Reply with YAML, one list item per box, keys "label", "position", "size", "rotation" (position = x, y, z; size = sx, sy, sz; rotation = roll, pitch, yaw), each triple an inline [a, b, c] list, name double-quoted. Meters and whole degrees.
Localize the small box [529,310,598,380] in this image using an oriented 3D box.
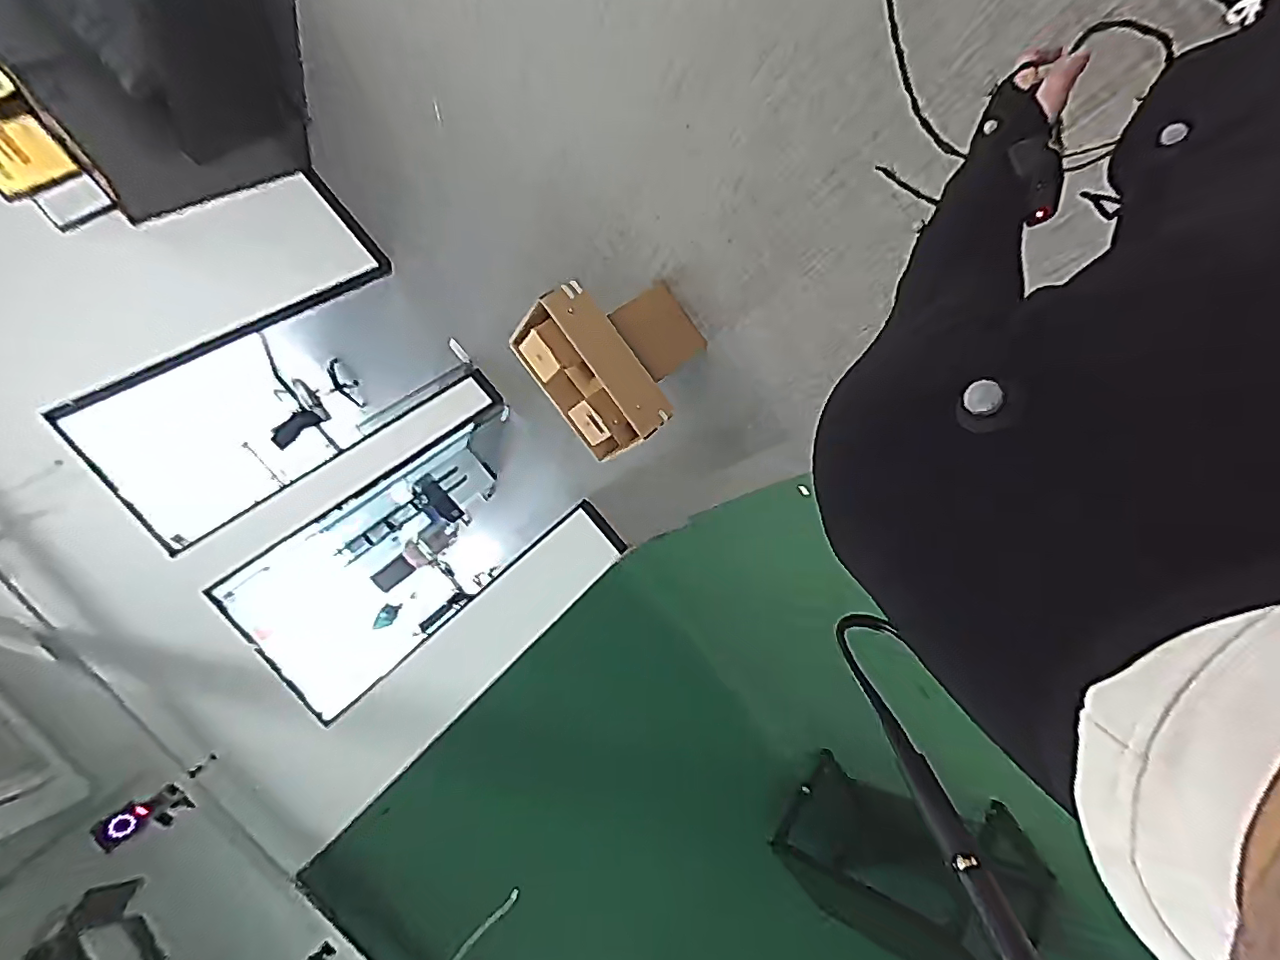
- label: "small box"
  position: [-0.290, -0.515, 2.060]
  size: [0.168, 0.176, 0.179]
  rotation: [54, 150, -8]
